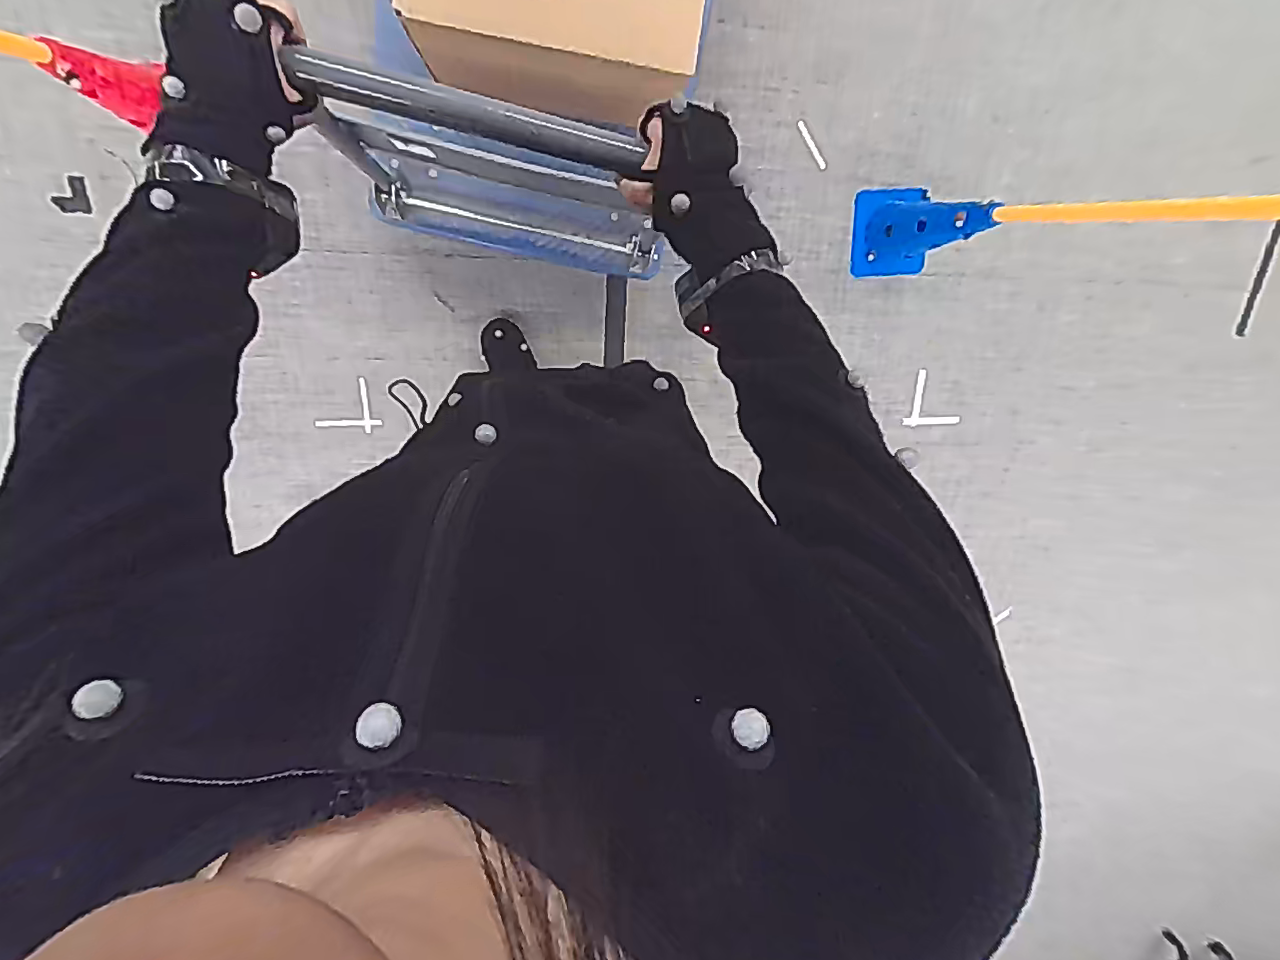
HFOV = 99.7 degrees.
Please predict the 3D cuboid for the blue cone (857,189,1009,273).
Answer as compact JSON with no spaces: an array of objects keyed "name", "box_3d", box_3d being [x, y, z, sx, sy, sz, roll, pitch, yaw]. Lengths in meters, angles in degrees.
[{"name":"blue cone","box_3d":[0.657,-0.571,1.198,0.193,0.380,0.192,-4,109,-8]}]
